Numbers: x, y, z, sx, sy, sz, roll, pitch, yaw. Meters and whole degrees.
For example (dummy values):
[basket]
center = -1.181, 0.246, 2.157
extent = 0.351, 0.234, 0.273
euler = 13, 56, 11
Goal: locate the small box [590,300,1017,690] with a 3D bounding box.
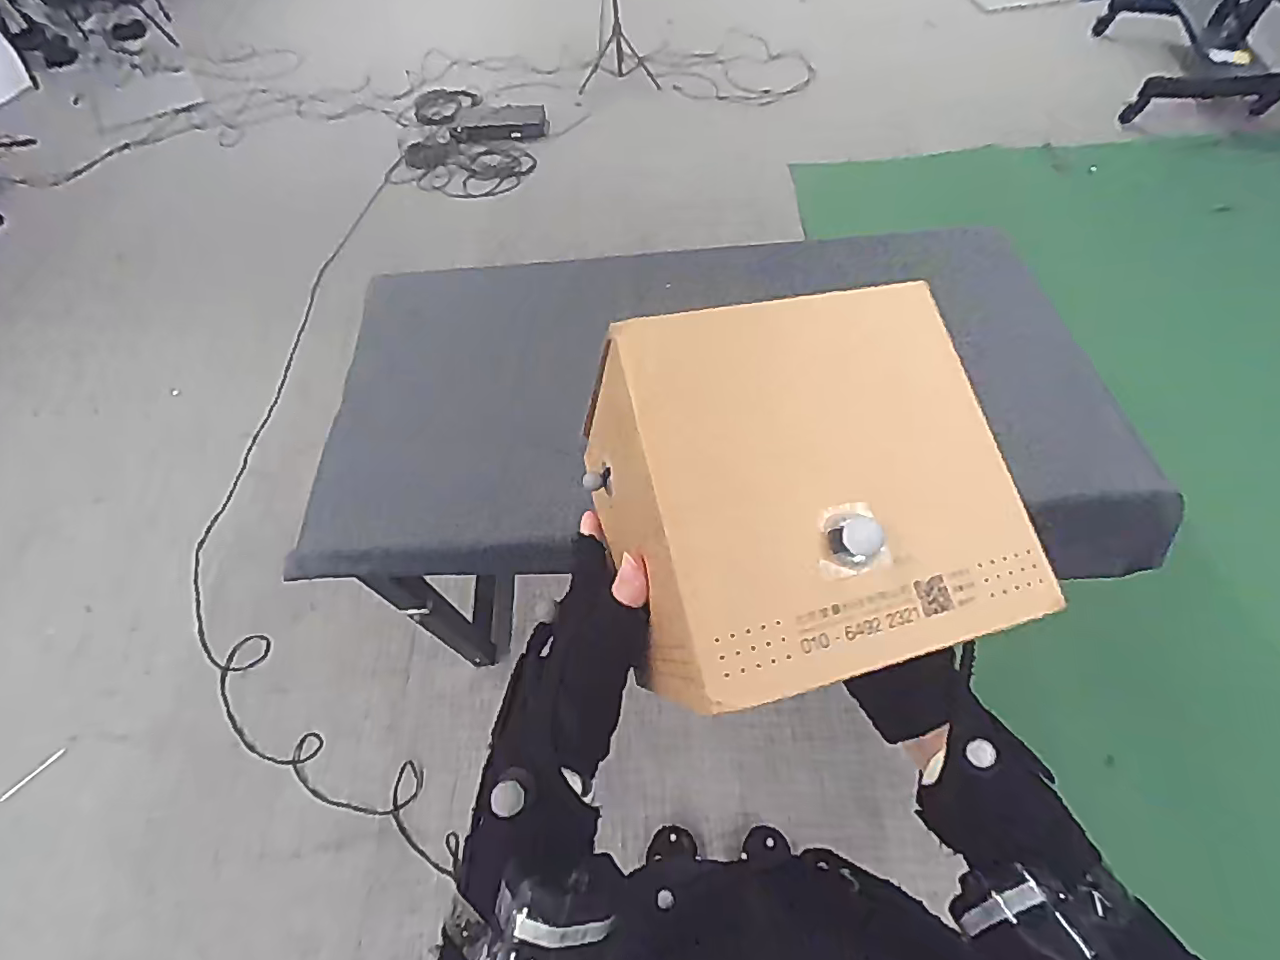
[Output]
[small box]
center = 0.071, 0.020, 0.332
extent = 0.168, 0.179, 0.176
euler = -12, 76, -13
